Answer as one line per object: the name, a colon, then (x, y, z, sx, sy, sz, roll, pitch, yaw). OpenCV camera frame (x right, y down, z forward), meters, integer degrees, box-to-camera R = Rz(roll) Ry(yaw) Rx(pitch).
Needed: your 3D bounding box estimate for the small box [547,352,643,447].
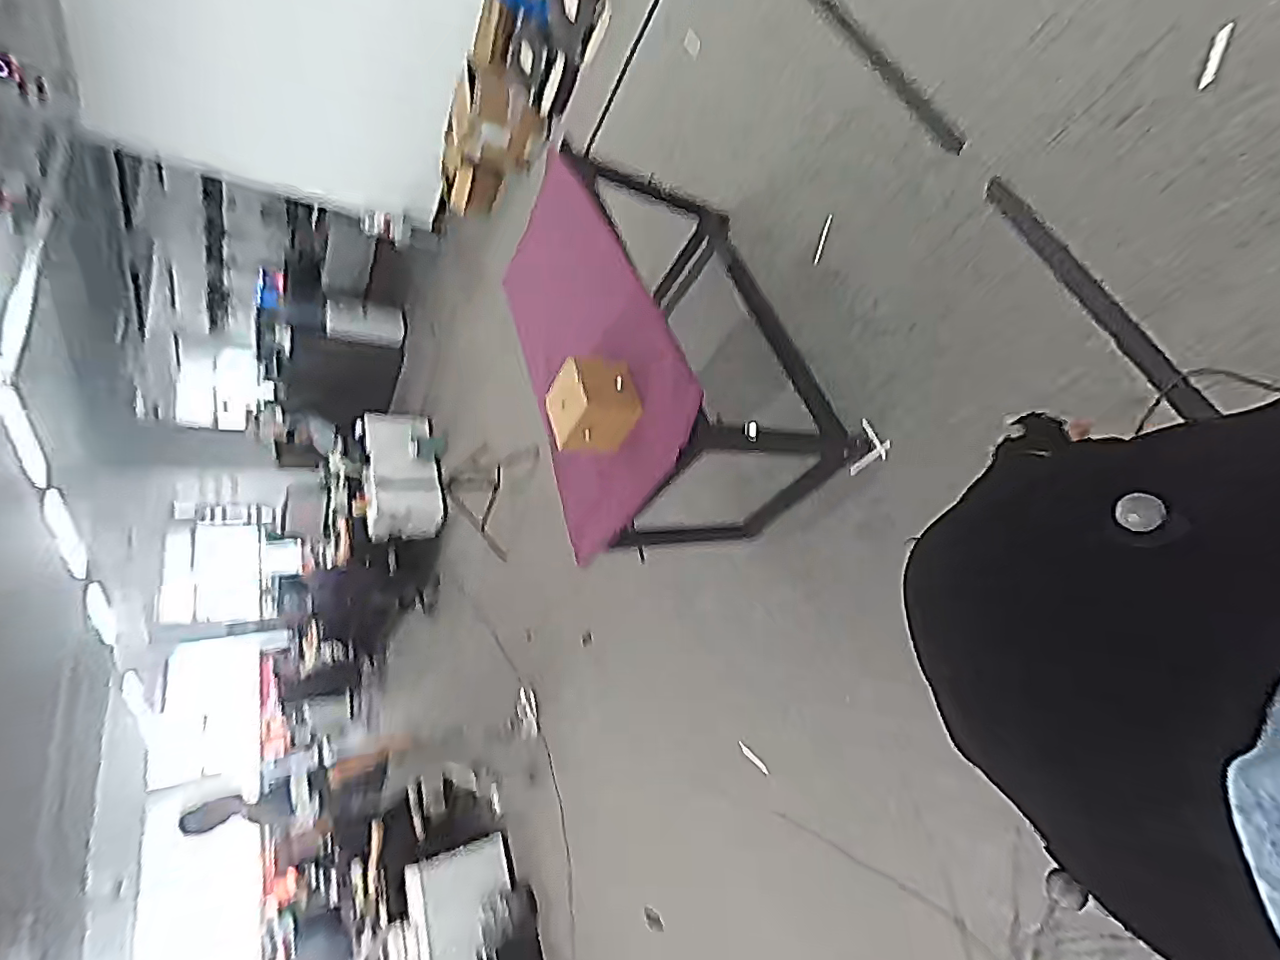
small box: (-0.118, -0.200, 1.401, 0.179, 0.176, 0.168, -48, 52, 41)
